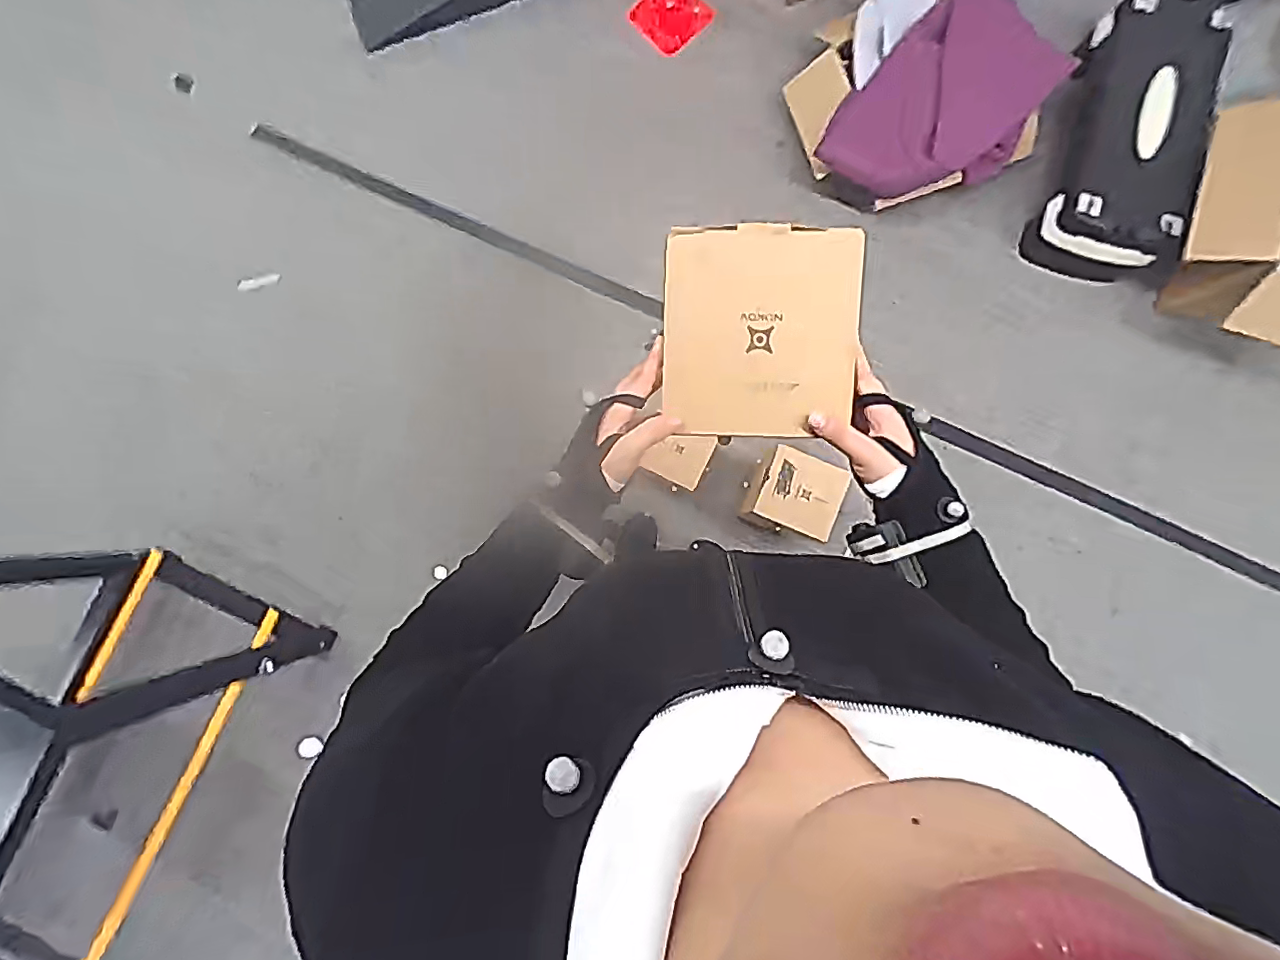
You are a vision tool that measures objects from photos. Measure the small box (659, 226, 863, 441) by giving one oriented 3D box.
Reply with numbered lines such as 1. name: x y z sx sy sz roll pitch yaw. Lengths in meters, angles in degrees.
1. small box: 0.103 -0.132 0.533 0.168 0.176 0.179 1 99 3

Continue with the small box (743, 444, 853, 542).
1. small box: 0.355 0.035 1.251 0.179 0.176 0.168 23 87 3

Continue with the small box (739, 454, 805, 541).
1. small box: 0.368 0.047 1.416 0.168 0.176 0.179 23 88 3

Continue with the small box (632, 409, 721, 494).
1. small box: 0.096 -0.073 1.432 0.179 0.176 0.168 27 87 4
